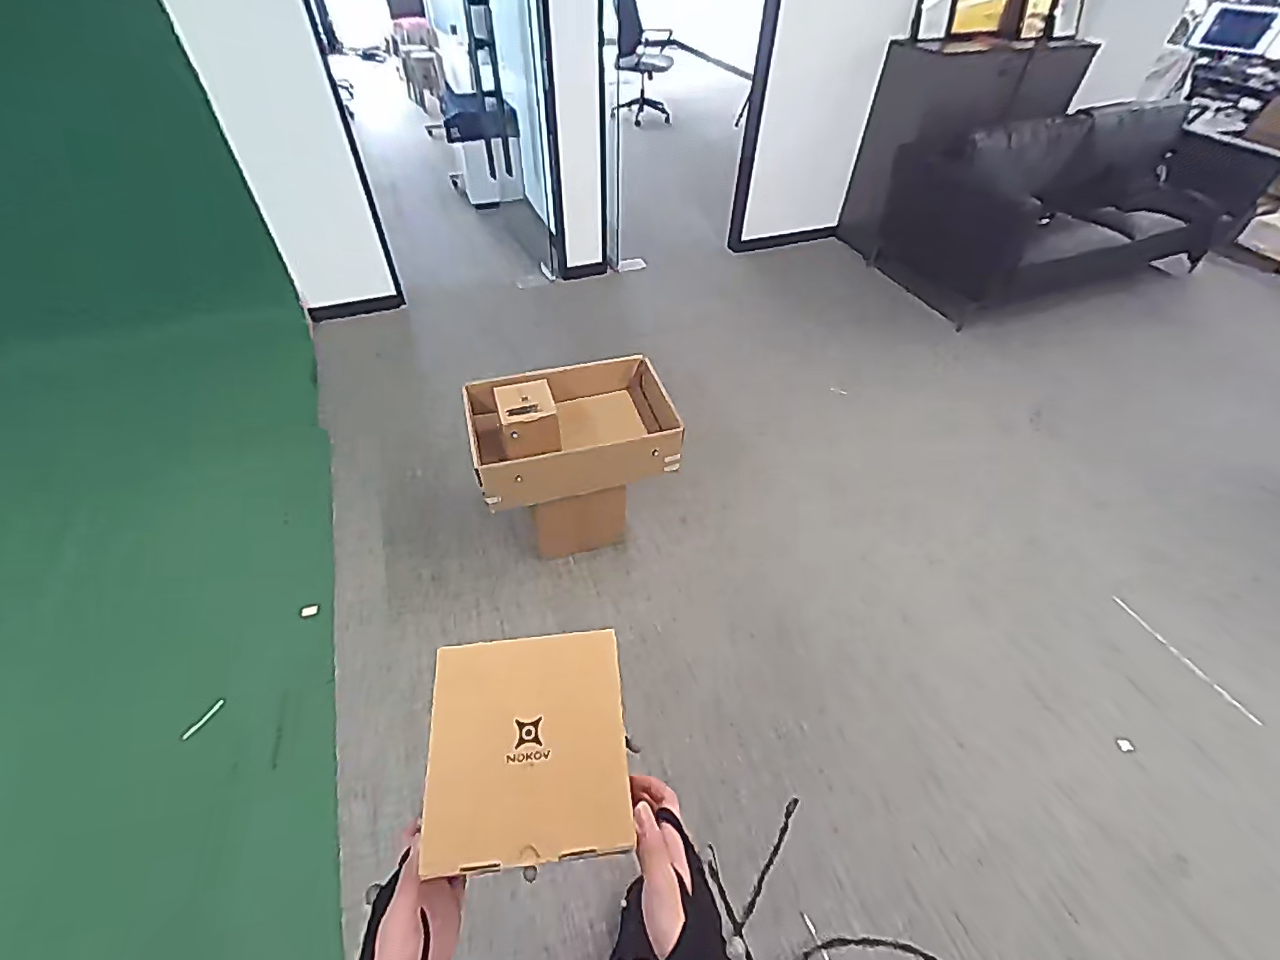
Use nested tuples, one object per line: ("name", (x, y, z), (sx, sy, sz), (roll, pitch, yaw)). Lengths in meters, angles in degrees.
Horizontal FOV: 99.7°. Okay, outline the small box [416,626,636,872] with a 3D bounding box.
("small box", (-0.098, 0.258, 0.517), (0.168, 0.176, 0.179), (-4, 56, -6))
